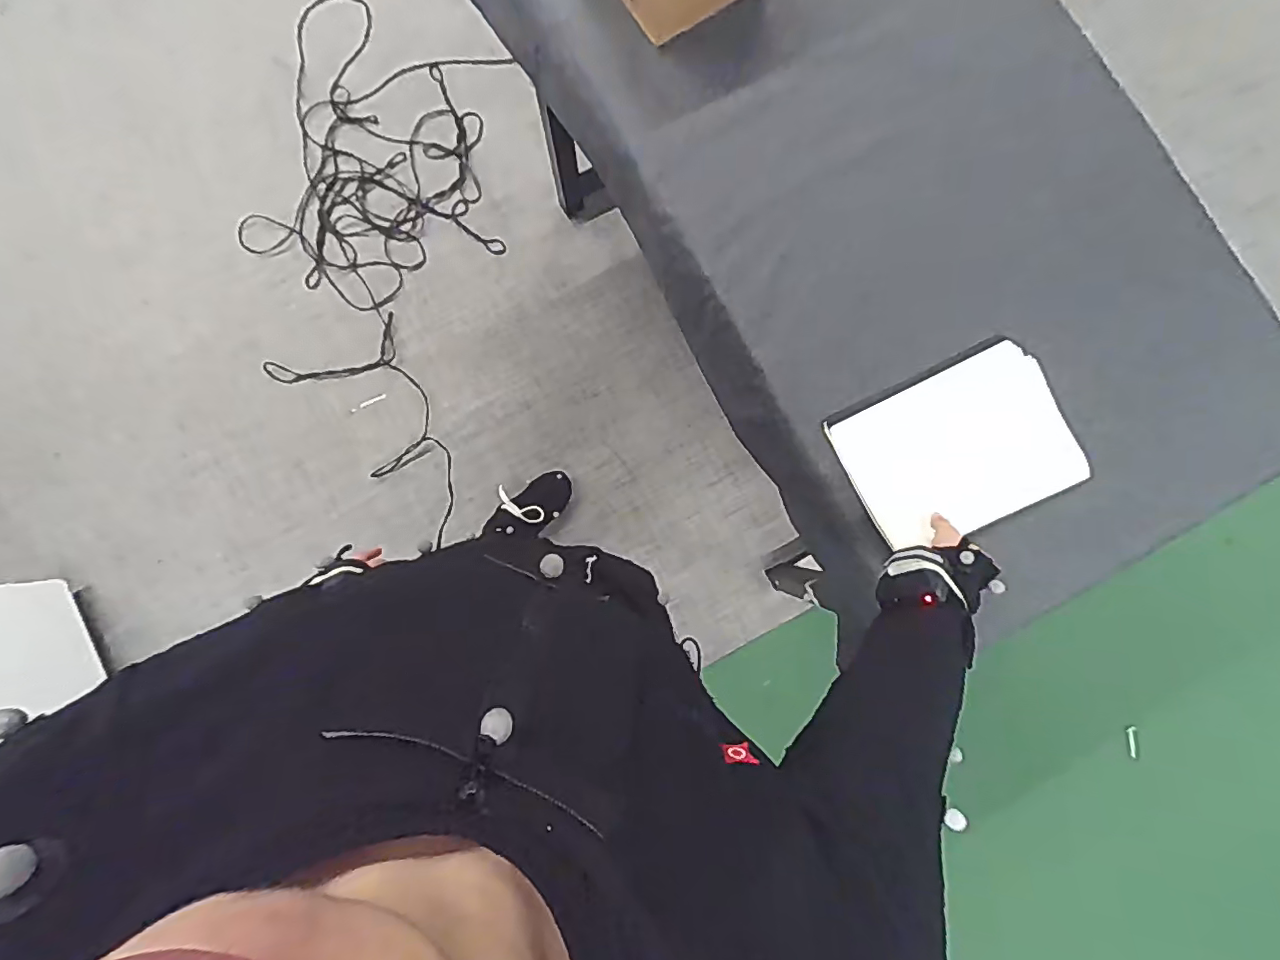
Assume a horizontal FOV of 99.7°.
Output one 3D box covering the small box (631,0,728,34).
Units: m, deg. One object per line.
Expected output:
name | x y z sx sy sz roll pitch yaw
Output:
small box | 0.049 -0.689 0.635 0.179 0.176 0.168 -34 88 -6
